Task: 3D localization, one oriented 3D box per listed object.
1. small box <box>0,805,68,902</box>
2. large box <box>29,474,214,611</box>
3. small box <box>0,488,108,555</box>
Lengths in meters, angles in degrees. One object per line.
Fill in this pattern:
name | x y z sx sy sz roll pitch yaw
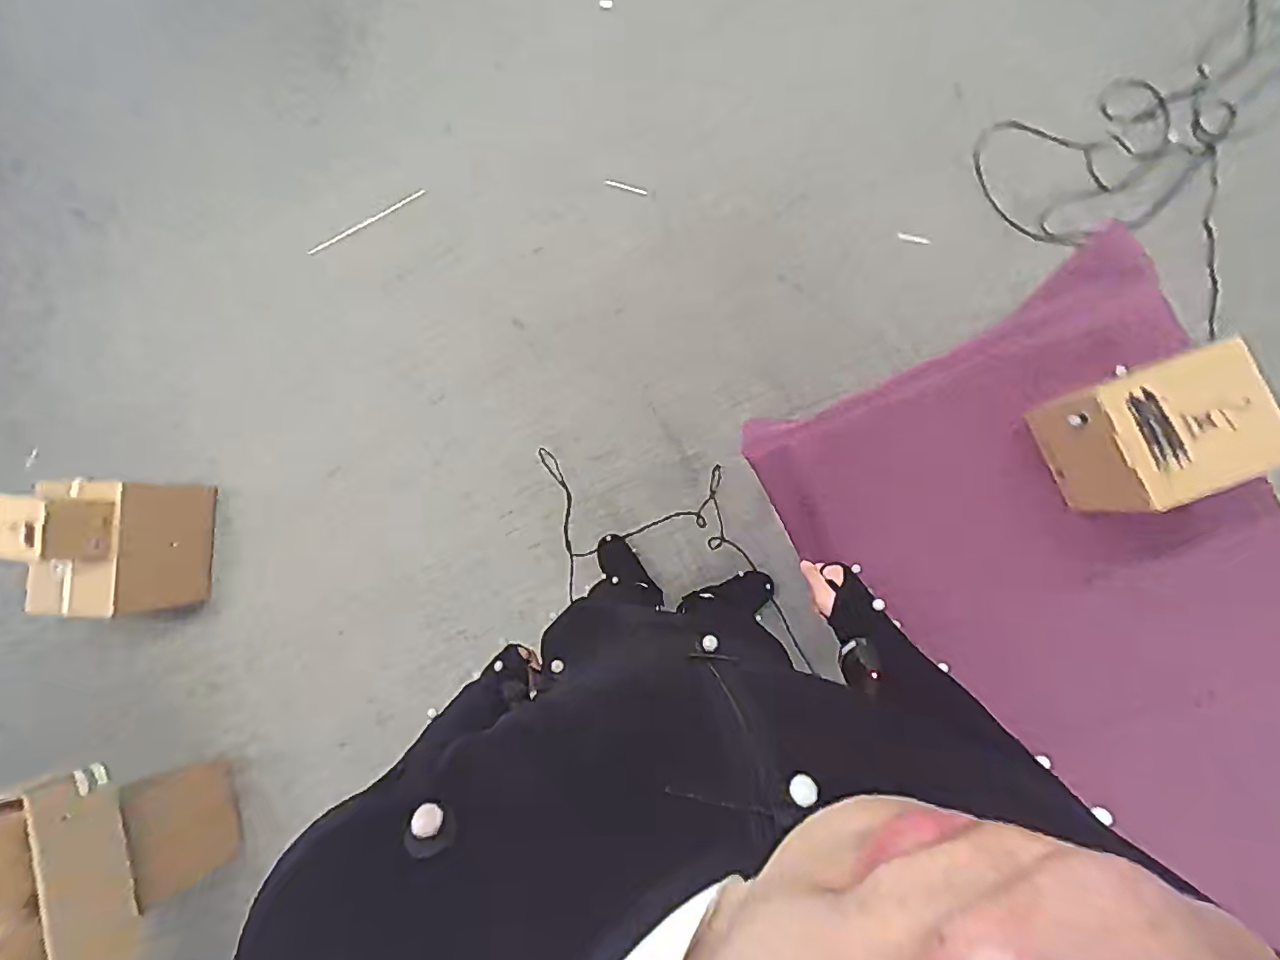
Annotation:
small box | -1.599 0.946 1.345 0.179 0.176 0.168 -15 85 6
large box | -1.653 0.186 1.746 0.320 0.320 0.408 1 88 9
small box | -1.640 0.111 1.499 0.179 0.176 0.168 5 88 7
